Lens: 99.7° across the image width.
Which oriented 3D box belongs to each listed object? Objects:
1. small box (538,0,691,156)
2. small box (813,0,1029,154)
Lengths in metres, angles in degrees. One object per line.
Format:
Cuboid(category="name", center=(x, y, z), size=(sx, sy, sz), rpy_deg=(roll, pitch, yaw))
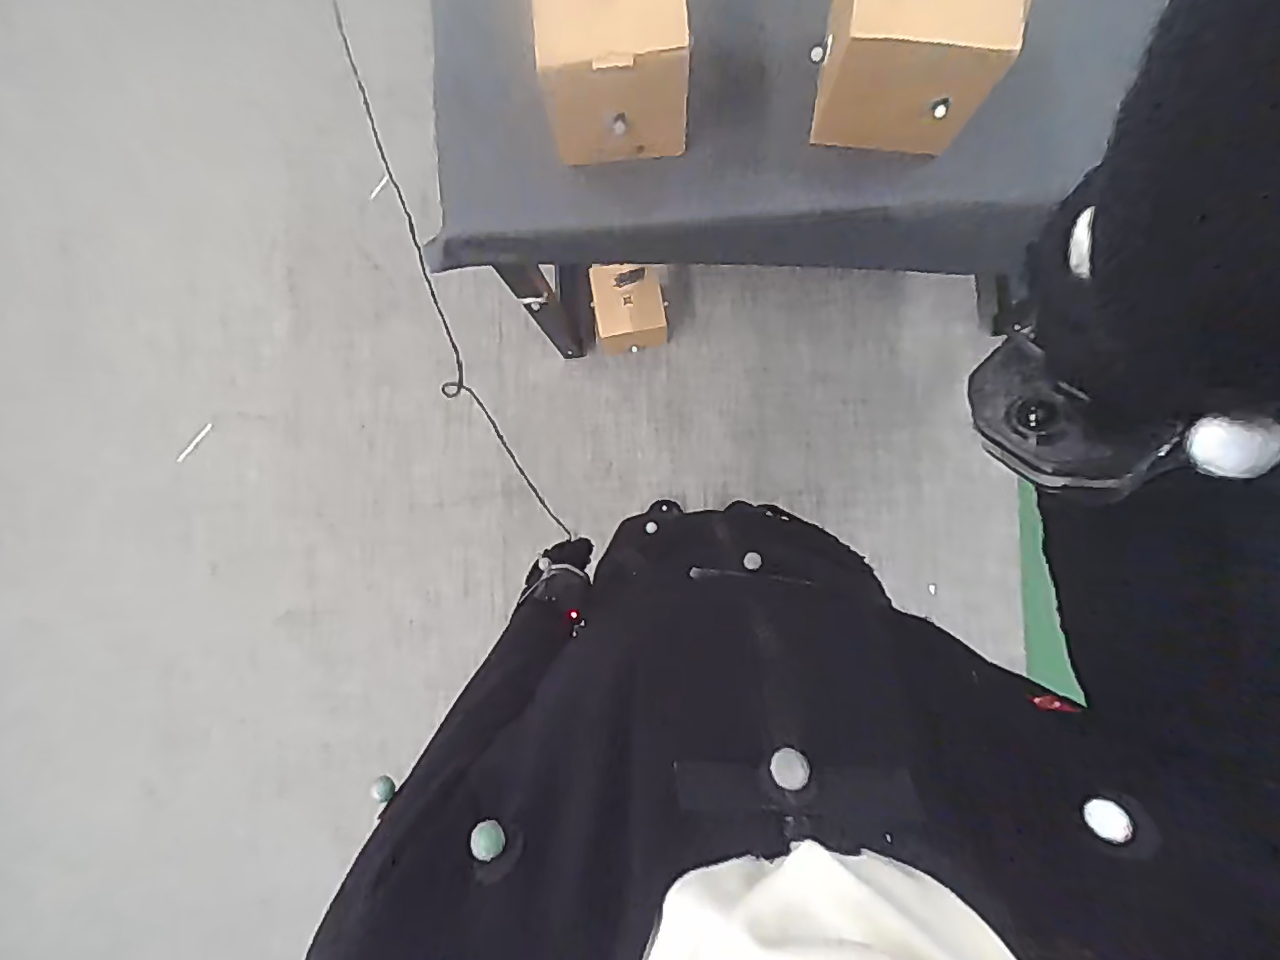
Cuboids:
Cuboid(category="small box", center=(-0.025, -0.524, 0.657), size=(0.168, 0.176, 0.179), rpy_deg=(-4, 87, 2))
Cuboid(category="small box", center=(0.322, -0.520, 0.641), size=(0.179, 0.176, 0.168), rpy_deg=(7, 87, 4))
